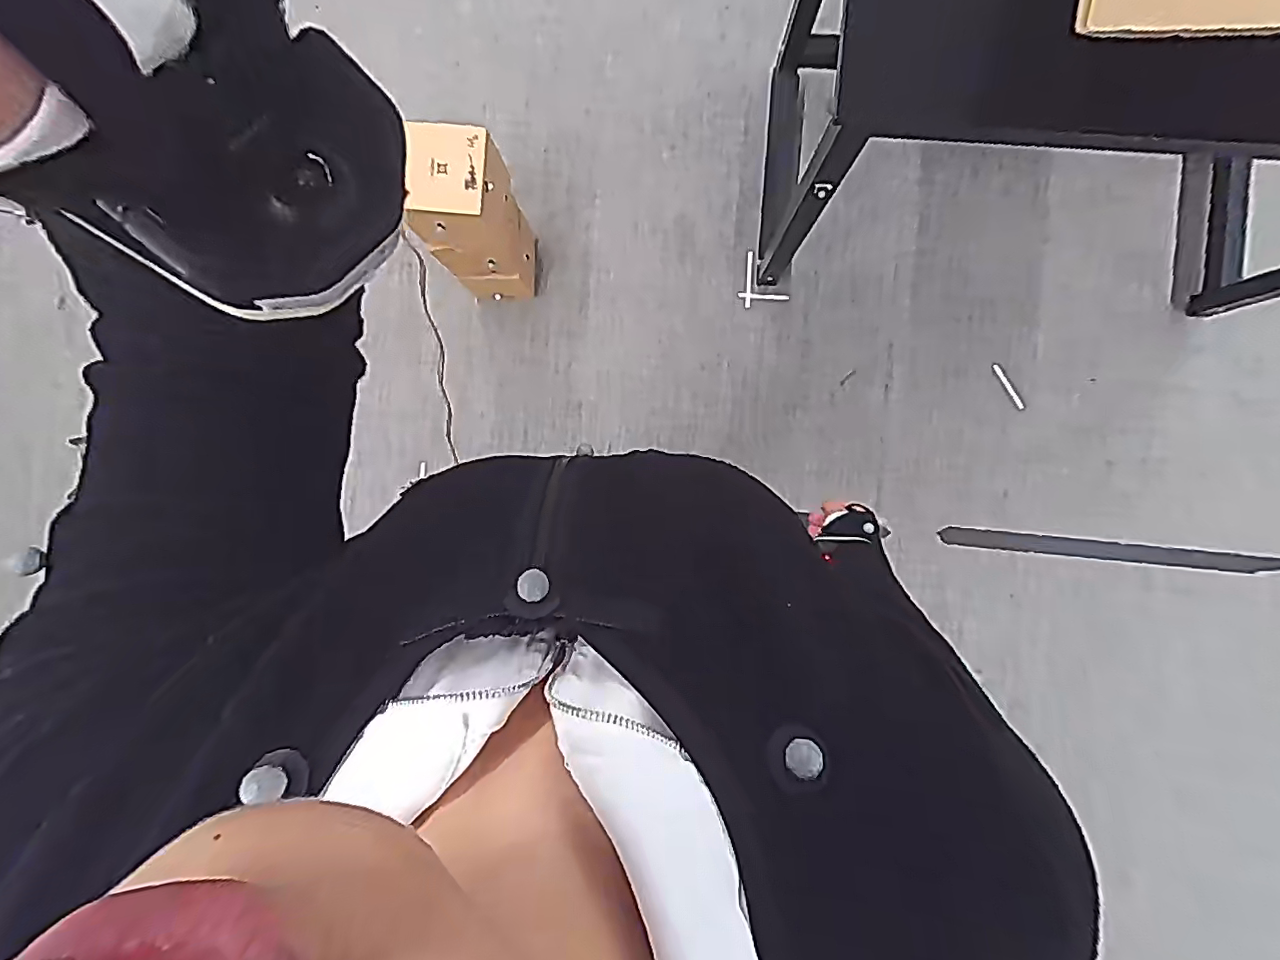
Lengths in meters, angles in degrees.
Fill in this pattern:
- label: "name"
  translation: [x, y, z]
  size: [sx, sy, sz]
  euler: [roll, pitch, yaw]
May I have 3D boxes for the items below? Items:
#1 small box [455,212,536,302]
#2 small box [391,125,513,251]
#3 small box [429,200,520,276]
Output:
- label: "small box"
  translation: [-0.373, -0.582, 1.421]
  size: [0.168, 0.176, 0.179]
  euler: [1, 92, 2]
- label: "small box"
  translation: [-0.373, -0.581, 1.095]
  size: [0.179, 0.176, 0.168]
  euler: [5, 91, 2]
- label: "small box"
  translation: [-0.381, -0.587, 1.259]
  size: [0.168, 0.176, 0.179]
  euler: [-2, 89, 1]
